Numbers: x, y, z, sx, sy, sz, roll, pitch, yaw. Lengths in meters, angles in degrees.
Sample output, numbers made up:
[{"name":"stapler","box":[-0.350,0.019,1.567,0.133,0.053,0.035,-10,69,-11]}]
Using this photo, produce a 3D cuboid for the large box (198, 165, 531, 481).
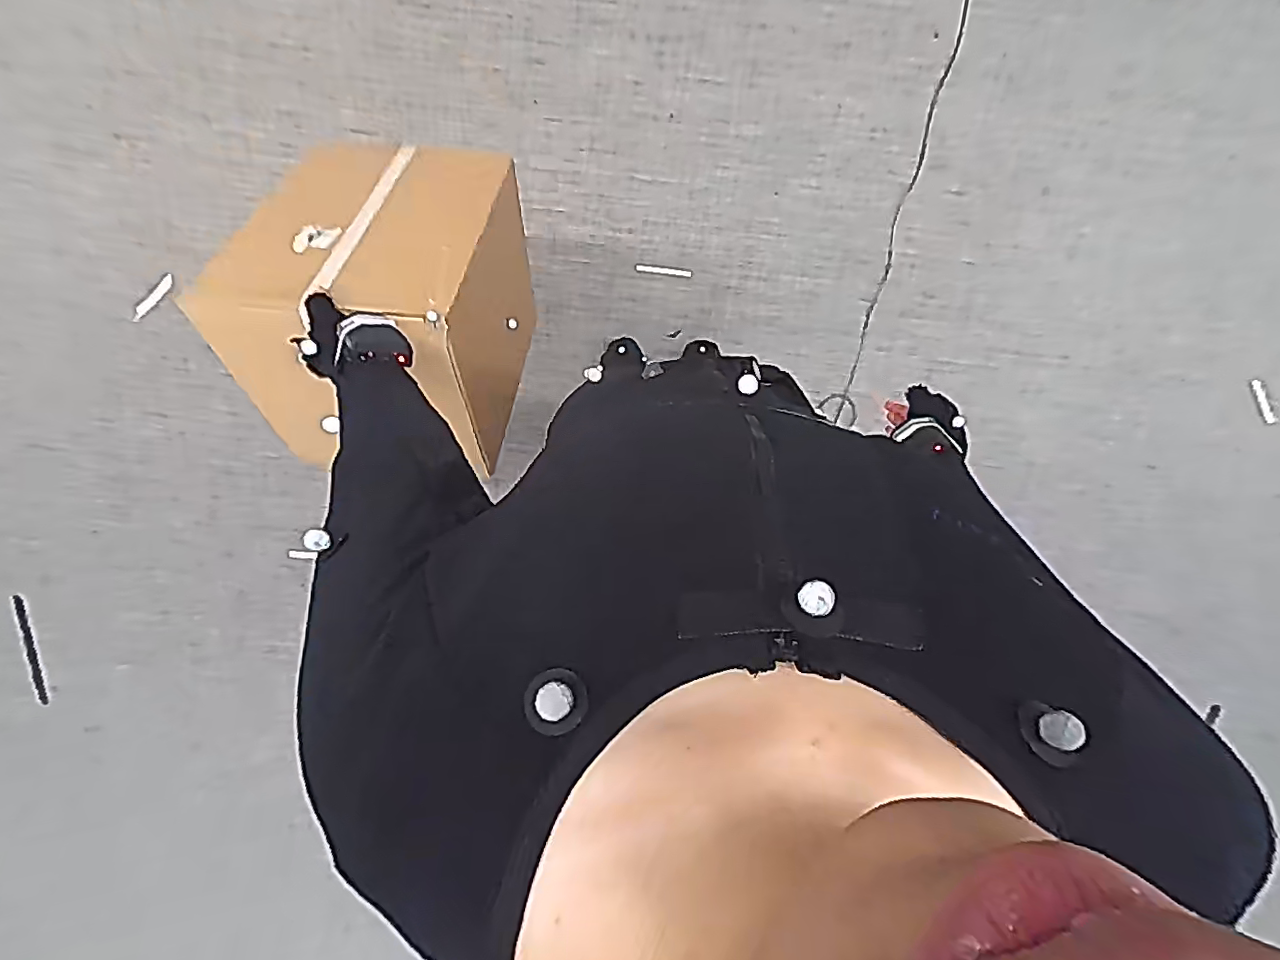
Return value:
[{"name":"large box","box":[-0.376,-0.254,0.882,0.320,0.408,0.320,3,144,2]}]
